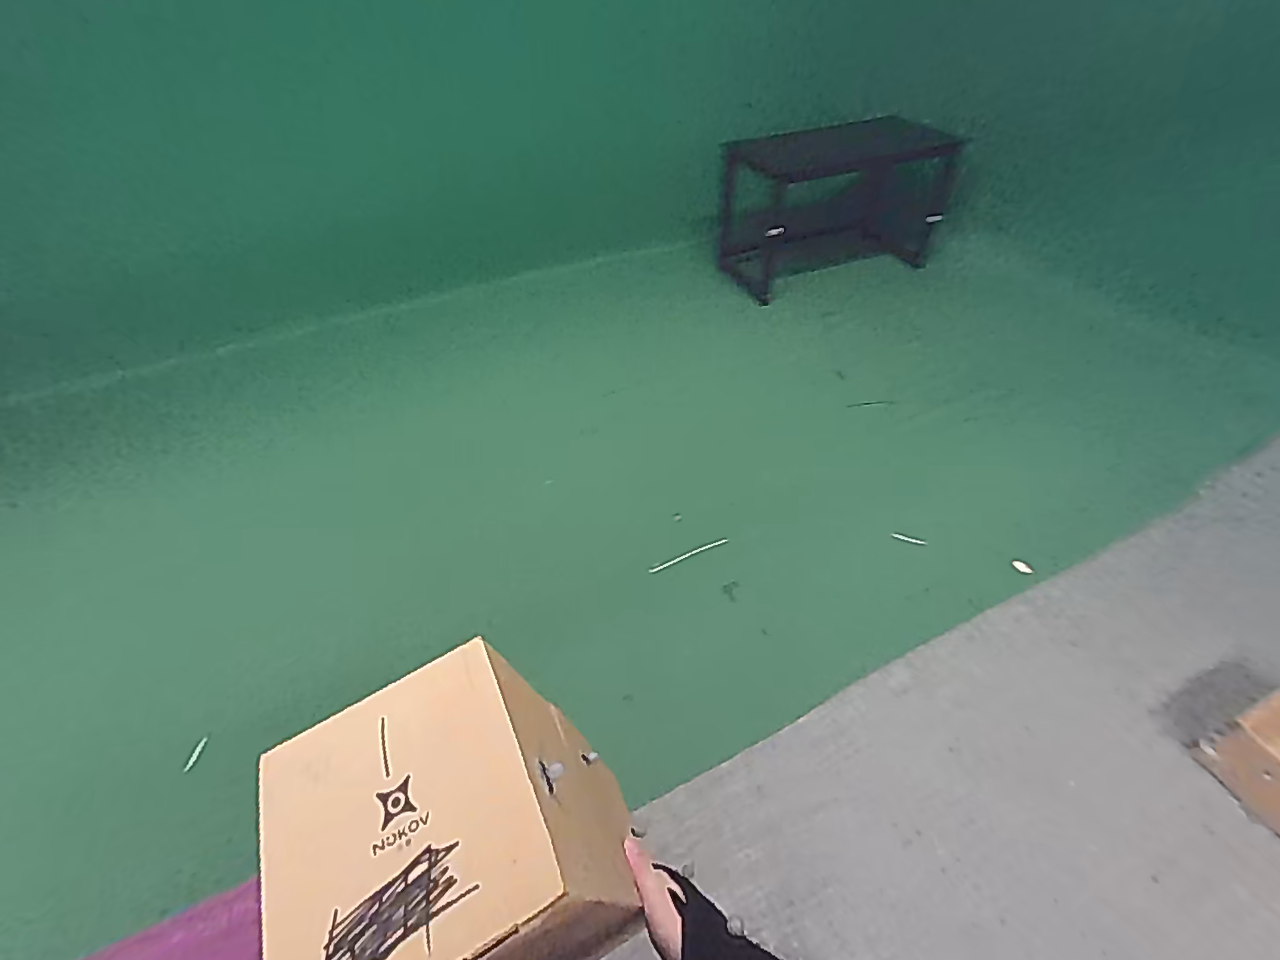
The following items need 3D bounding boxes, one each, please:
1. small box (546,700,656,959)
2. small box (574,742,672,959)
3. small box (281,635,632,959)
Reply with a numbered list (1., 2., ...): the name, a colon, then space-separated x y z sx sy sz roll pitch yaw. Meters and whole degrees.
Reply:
1. small box: -0.097 0.350 0.518 0.168 0.176 0.179 -24 52 -9
2. small box: -0.074 0.453 0.643 0.168 0.176 0.179 -25 51 -10
3. small box: -0.121 0.251 0.389 0.168 0.176 0.179 -26 51 -10
